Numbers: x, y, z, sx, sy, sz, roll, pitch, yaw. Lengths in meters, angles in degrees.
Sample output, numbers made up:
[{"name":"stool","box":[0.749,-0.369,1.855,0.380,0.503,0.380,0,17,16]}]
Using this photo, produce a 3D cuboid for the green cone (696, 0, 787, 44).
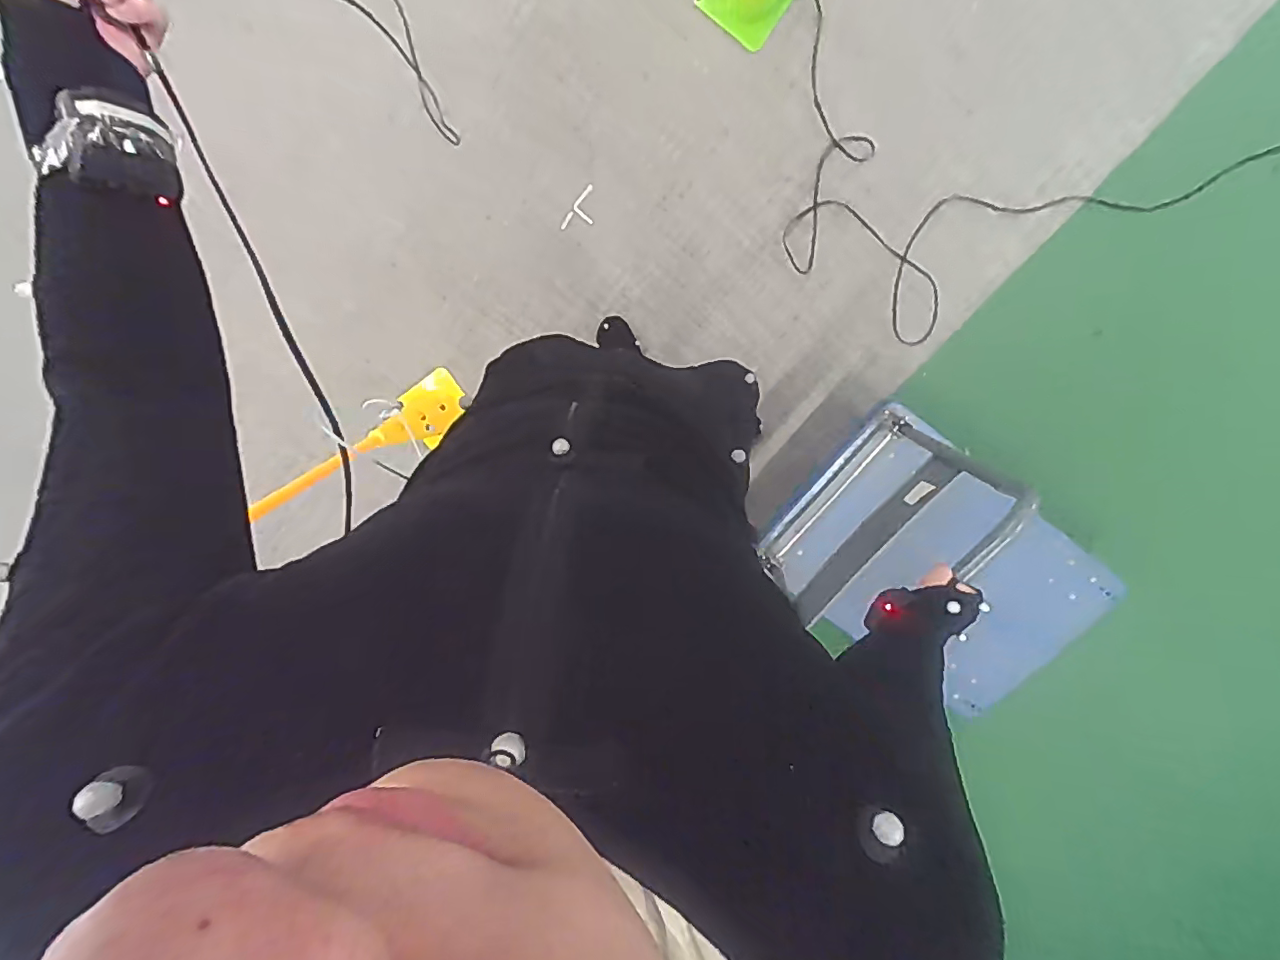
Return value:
[{"name":"green cone","box":[0.238,-1.095,1.070,0.200,0.368,0.202,35,105,-7]}]
